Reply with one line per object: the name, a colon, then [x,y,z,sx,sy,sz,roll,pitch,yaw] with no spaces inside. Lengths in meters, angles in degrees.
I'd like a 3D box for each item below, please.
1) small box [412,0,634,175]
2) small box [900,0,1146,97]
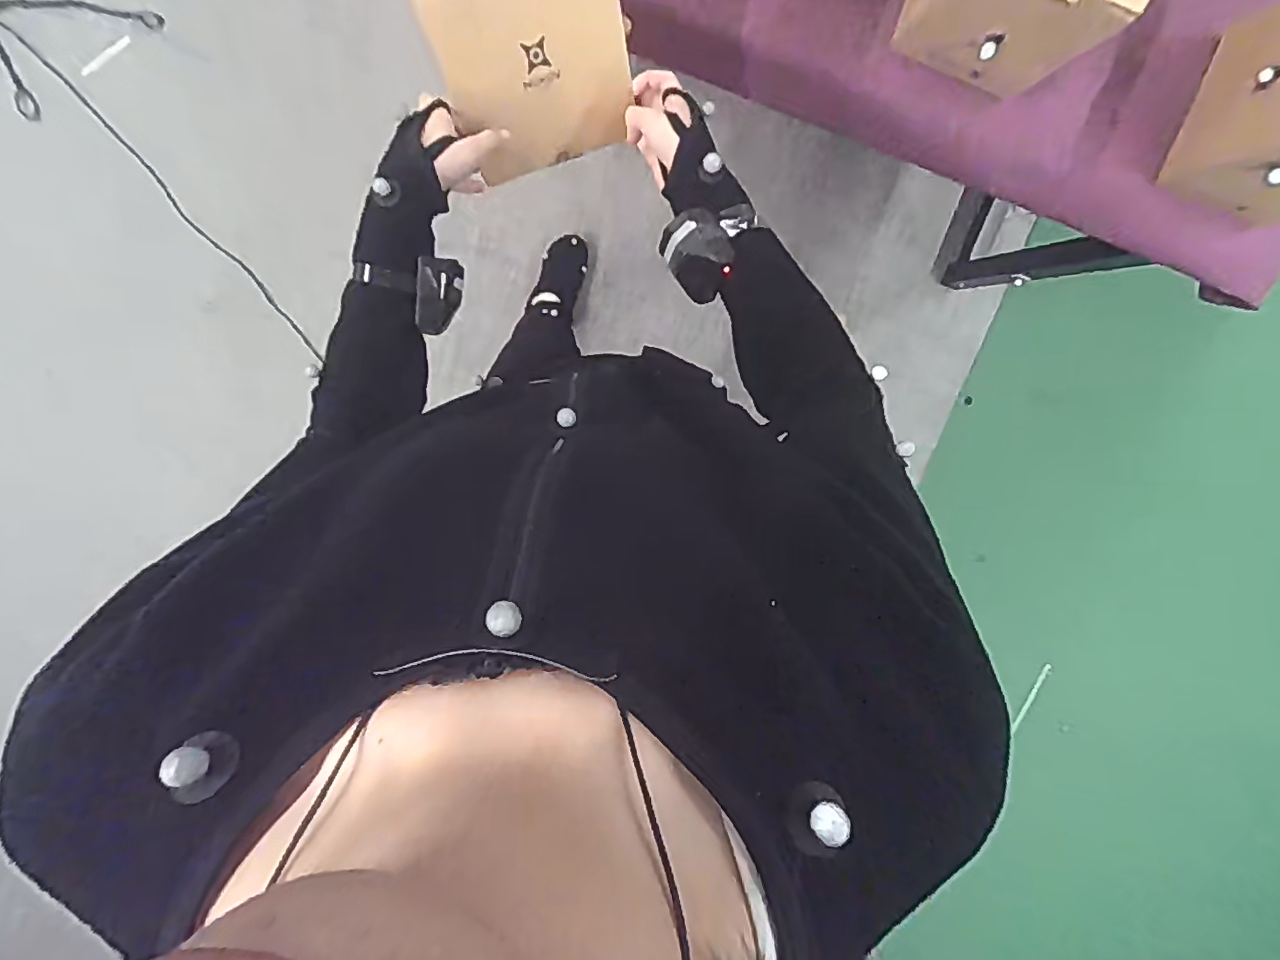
small box: [-0.119,-0.434,0.507,0.168,0.176,0.179,-20,149,-3]
small box: [0.397,-0.533,0.544,0.168,0.176,0.179,17,103,-8]
